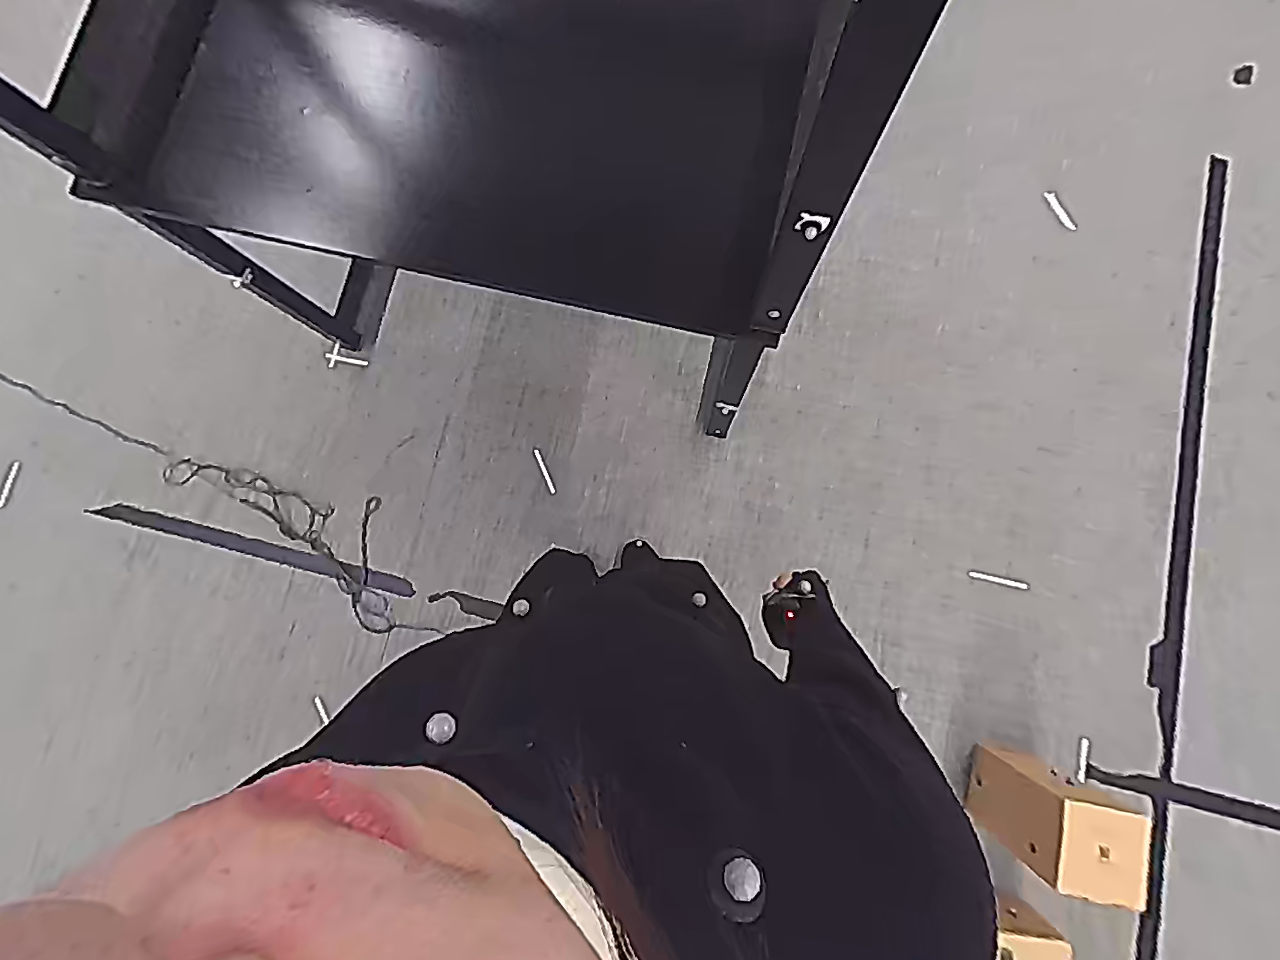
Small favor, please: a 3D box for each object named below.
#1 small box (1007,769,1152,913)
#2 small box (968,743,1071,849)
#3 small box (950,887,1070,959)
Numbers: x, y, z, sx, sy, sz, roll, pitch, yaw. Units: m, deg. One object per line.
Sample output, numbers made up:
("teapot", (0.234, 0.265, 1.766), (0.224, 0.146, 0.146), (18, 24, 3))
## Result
("small box", (0.905, 0.741, 1.129), (0.168, 0.176, 0.179), (11, 83, 4))
("small box", (0.917, 0.763, 1.291), (0.168, 0.176, 0.179), (13, 85, 5))
("small box", (0.849, 1.090, 1.256), (0.179, 0.176, 0.168), (6, 84, 3))
